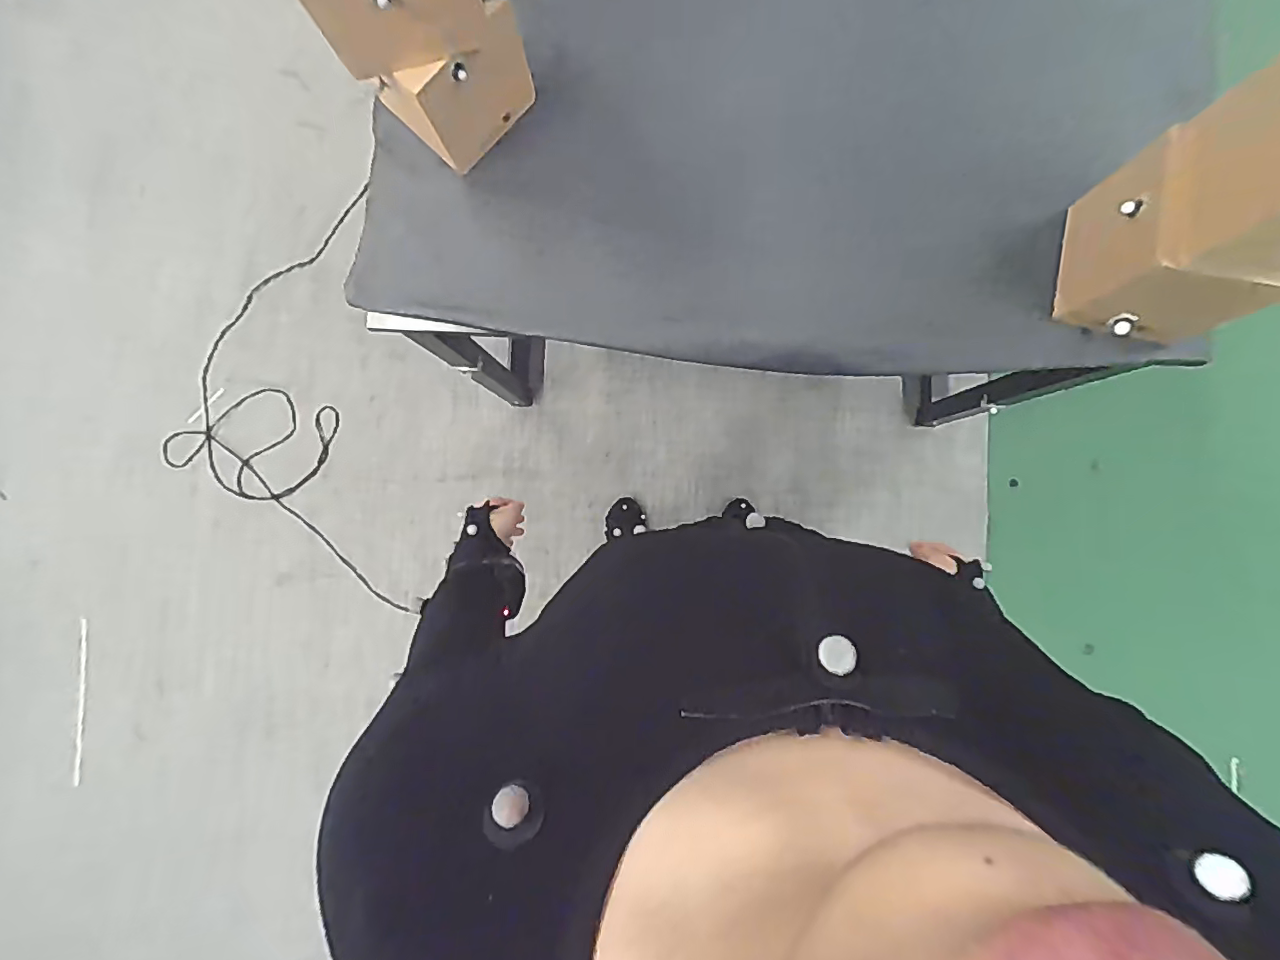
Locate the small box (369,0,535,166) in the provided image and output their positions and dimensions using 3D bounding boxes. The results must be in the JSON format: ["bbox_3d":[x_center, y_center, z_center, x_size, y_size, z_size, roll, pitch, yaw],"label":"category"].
[{"bbox_3d":[-0.270,-0.575,0.725,0.179,0.176,0.168,44,90,3],"label":"small box"}]

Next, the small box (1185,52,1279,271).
[{"bbox_3d":[0.677,-0.314,0.512,0.168,0.176,0.179,10,84,4],"label":"small box"}]

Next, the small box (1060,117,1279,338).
[{"bbox_3d":[0.670,-0.300,0.673,0.168,0.176,0.179,12,86,4],"label":"small box"}]

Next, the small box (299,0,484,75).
[{"bbox_3d":[-0.277,-0.576,0.561,0.179,0.176,0.168,-15,88,2],"label":"small box"}]
